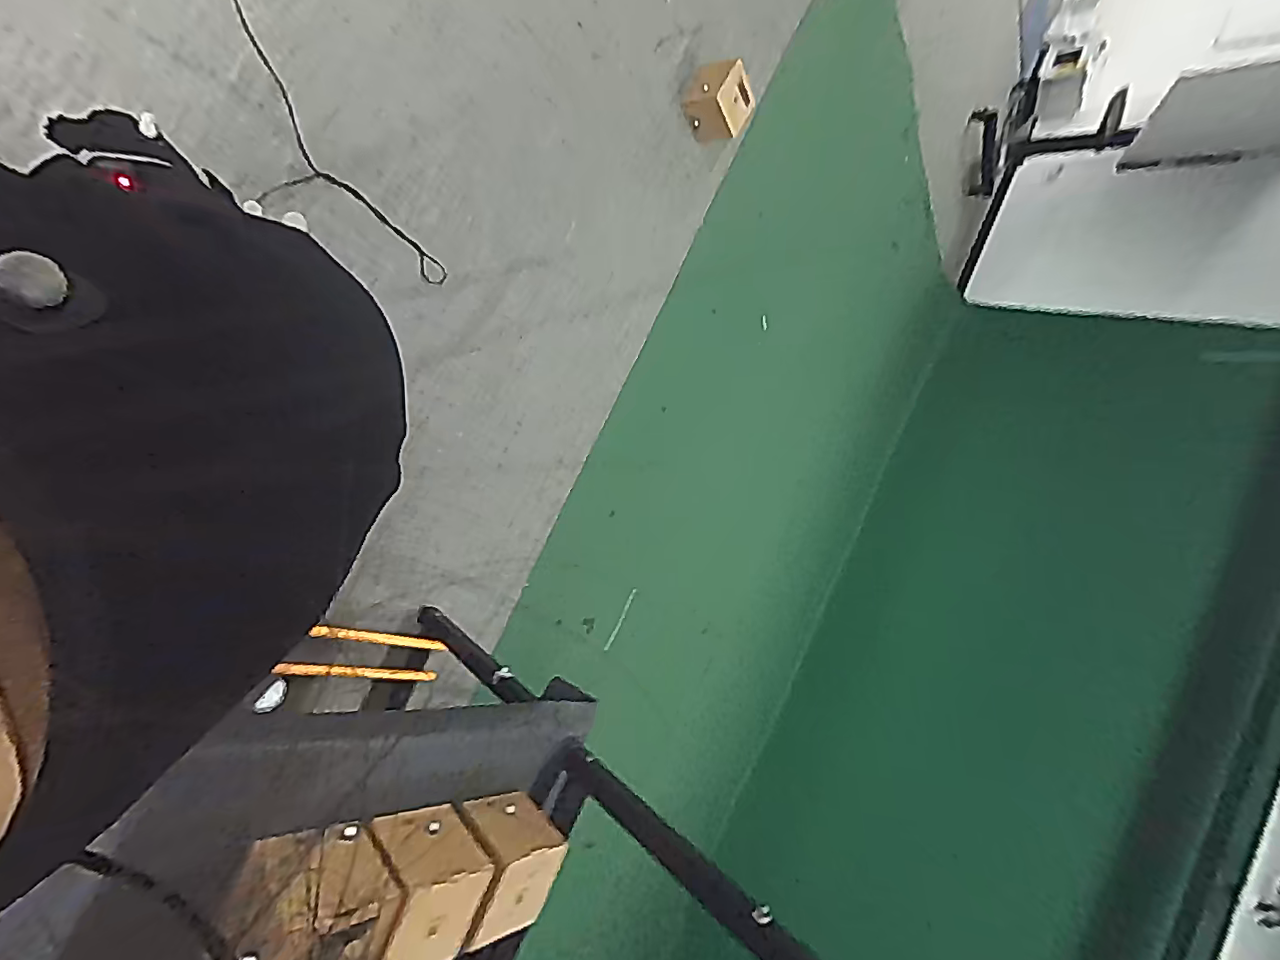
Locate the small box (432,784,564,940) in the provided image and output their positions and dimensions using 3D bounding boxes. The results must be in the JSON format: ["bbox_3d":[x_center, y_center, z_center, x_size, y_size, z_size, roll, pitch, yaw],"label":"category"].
[{"bbox_3d":[-0.291,0.755,1.092,0.168,0.176,0.179,27,87,-51],"label":"small box"}]

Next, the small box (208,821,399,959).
[{"bbox_3d":[-0.502,0.643,0.803,0.168,0.176,0.179,27,87,-50],"label":"small box"}]
